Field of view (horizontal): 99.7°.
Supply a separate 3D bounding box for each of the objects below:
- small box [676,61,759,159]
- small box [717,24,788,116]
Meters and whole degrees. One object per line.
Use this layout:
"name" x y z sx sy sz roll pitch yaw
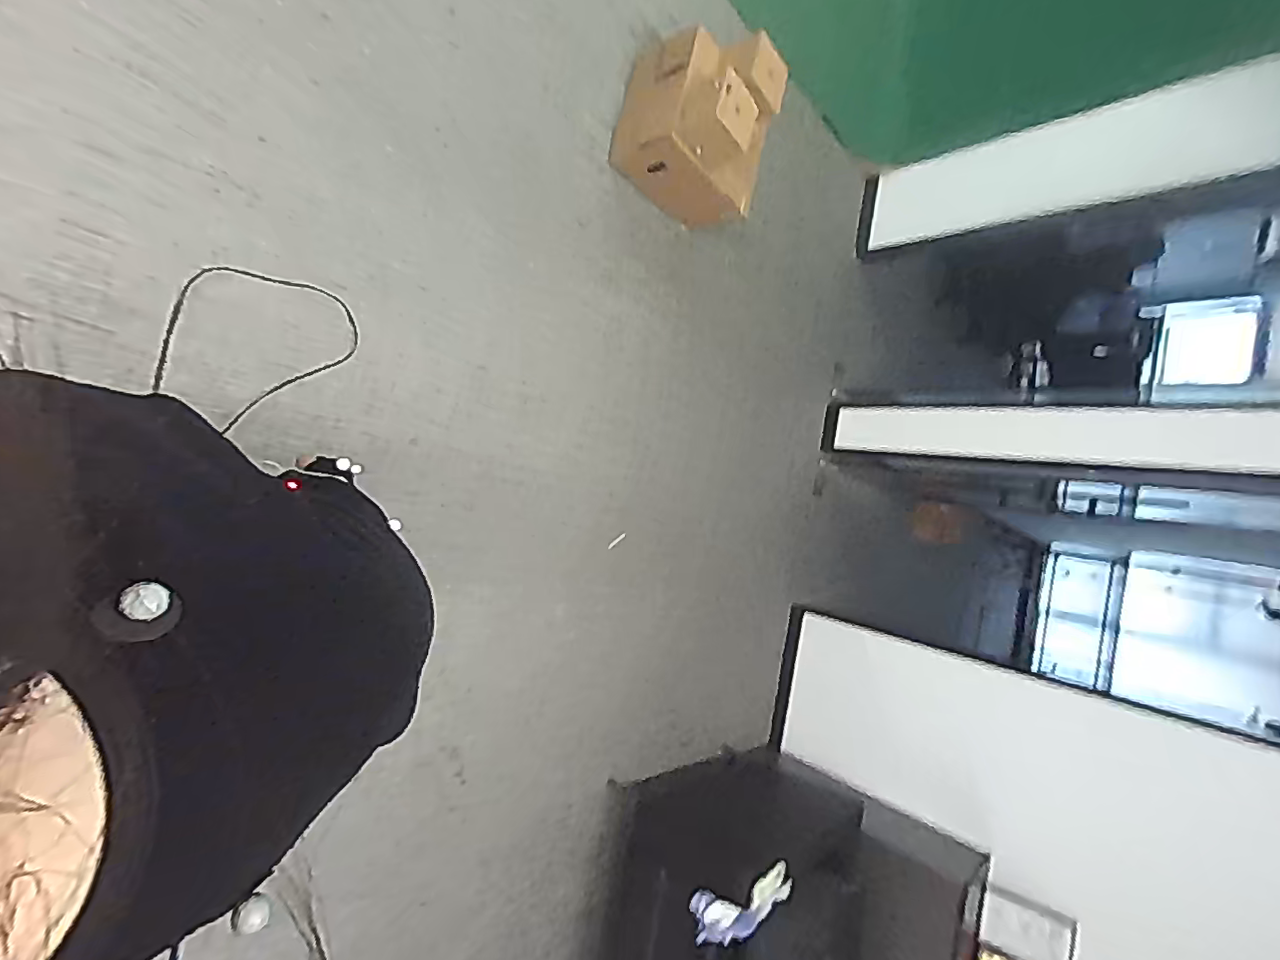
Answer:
"small box" 0.240 -1.138 1.685 0.179 0.176 0.168 21 81 -46
"small box" 0.361 -1.327 1.785 0.179 0.176 0.168 18 83 -46
